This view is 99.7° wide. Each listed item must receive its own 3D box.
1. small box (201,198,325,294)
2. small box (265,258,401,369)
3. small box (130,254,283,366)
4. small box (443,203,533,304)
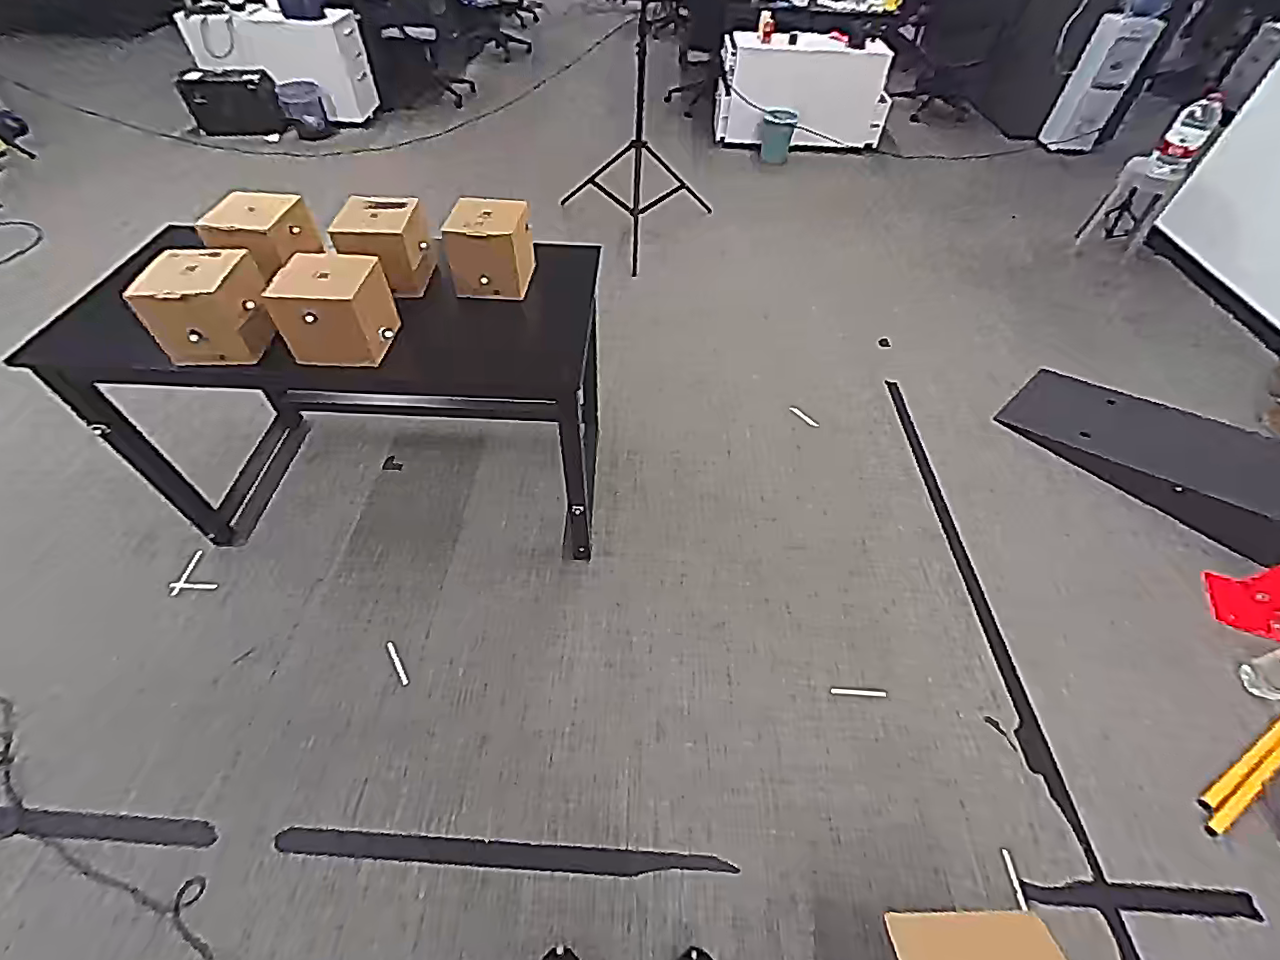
[{"bbox_3d":[-0.901,-0.562,1.320,0.168,0.176,0.179,3,51,0],"label":"small box"},{"bbox_3d":[-0.641,-0.352,1.155,0.179,0.176,0.168,2,51,-2],"label":"small box"},{"bbox_3d":[-0.898,-0.355,1.145,0.168,0.176,0.179,-2,50,-4],"label":"small box"},{"bbox_3d":[-0.365,-0.561,1.338,0.168,0.176,0.179,3,50,1],"label":"small box"}]
